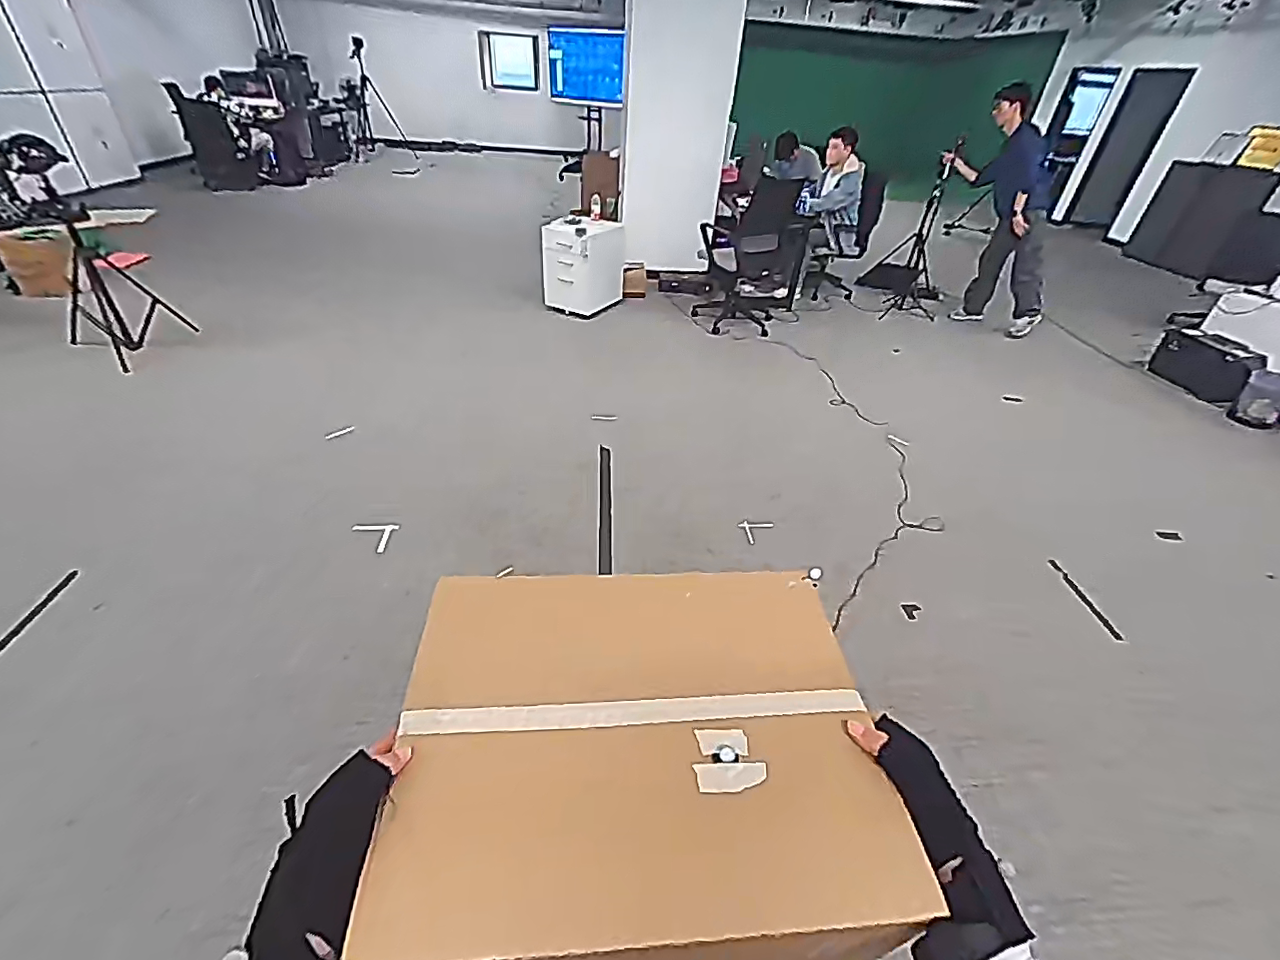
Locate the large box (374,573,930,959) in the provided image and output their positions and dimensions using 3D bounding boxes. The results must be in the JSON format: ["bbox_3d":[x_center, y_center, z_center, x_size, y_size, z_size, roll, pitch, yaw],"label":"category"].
[{"bbox_3d":[-0.005,0.321,0.581,0.408,0.320,0.320,0,41,-6],"label":"large box"}]
